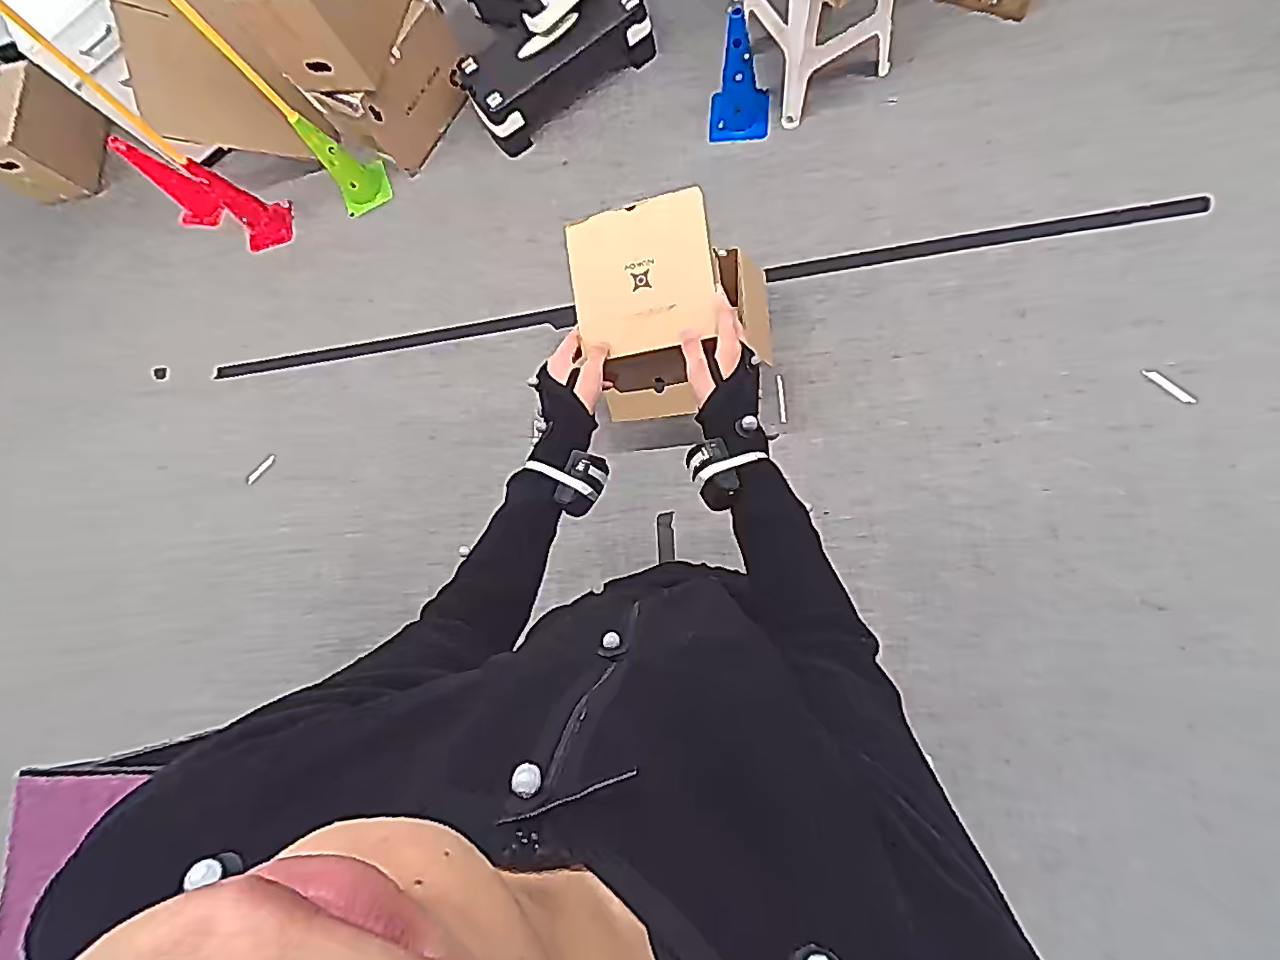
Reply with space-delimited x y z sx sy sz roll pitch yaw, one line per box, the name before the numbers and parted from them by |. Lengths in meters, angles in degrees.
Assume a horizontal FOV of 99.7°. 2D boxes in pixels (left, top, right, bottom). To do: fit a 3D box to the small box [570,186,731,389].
small box | 0.021 -0.231 0.694 0.168 0.176 0.179 -8 84 13
